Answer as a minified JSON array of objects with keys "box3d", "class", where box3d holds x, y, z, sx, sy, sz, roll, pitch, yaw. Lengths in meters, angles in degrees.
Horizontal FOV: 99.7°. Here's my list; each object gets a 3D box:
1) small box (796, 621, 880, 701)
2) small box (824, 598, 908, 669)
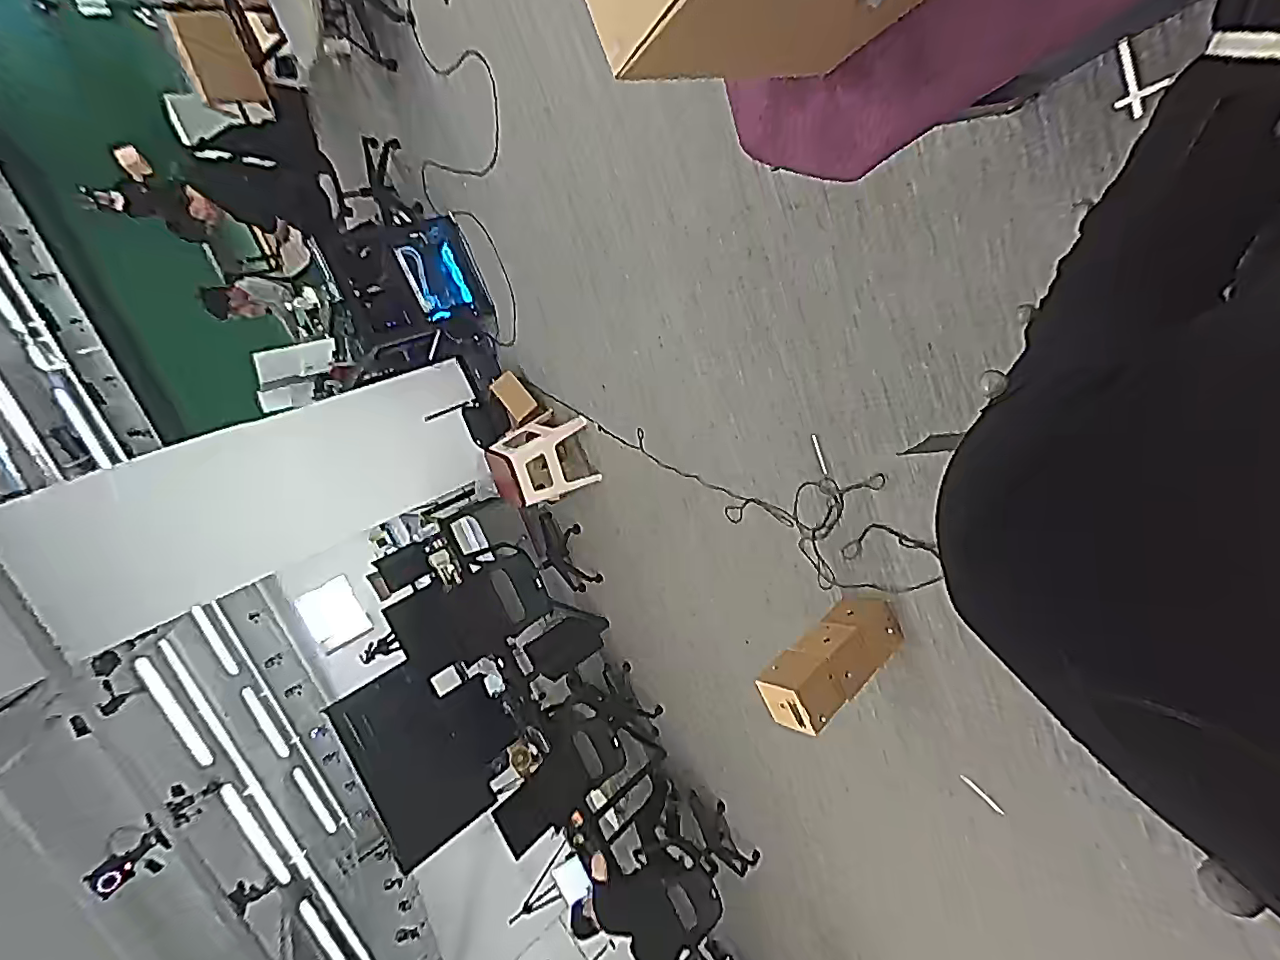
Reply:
[{"box3d":[0.653,0.585,1.775,0.168,0.176,0.179,-12,106,58],"class":"small box"},{"box3d":[0.777,0.519,1.856,0.179,0.176,0.168,-16,103,59],"class":"small box"}]
